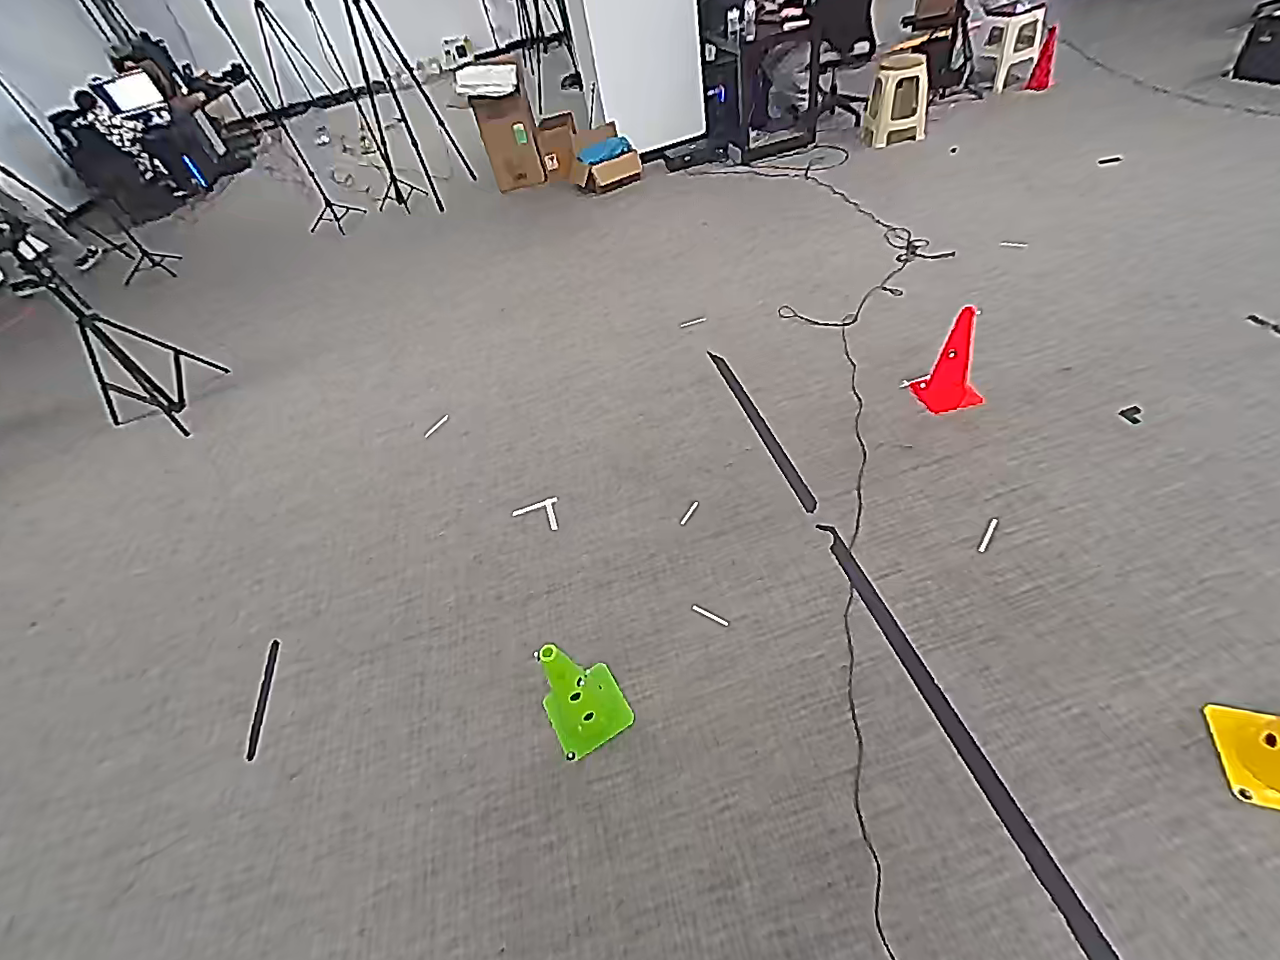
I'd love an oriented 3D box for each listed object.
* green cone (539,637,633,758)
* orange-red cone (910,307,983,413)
[{"bbox_3d":[-0.171,0.496,1.337,0.200,0.368,0.202,-29,46,-14],"label":"green cone"},{"bbox_3d":[1.115,-0.441,1.904,0.198,0.360,0.199,-13,47,3],"label":"orange-red cone"}]
